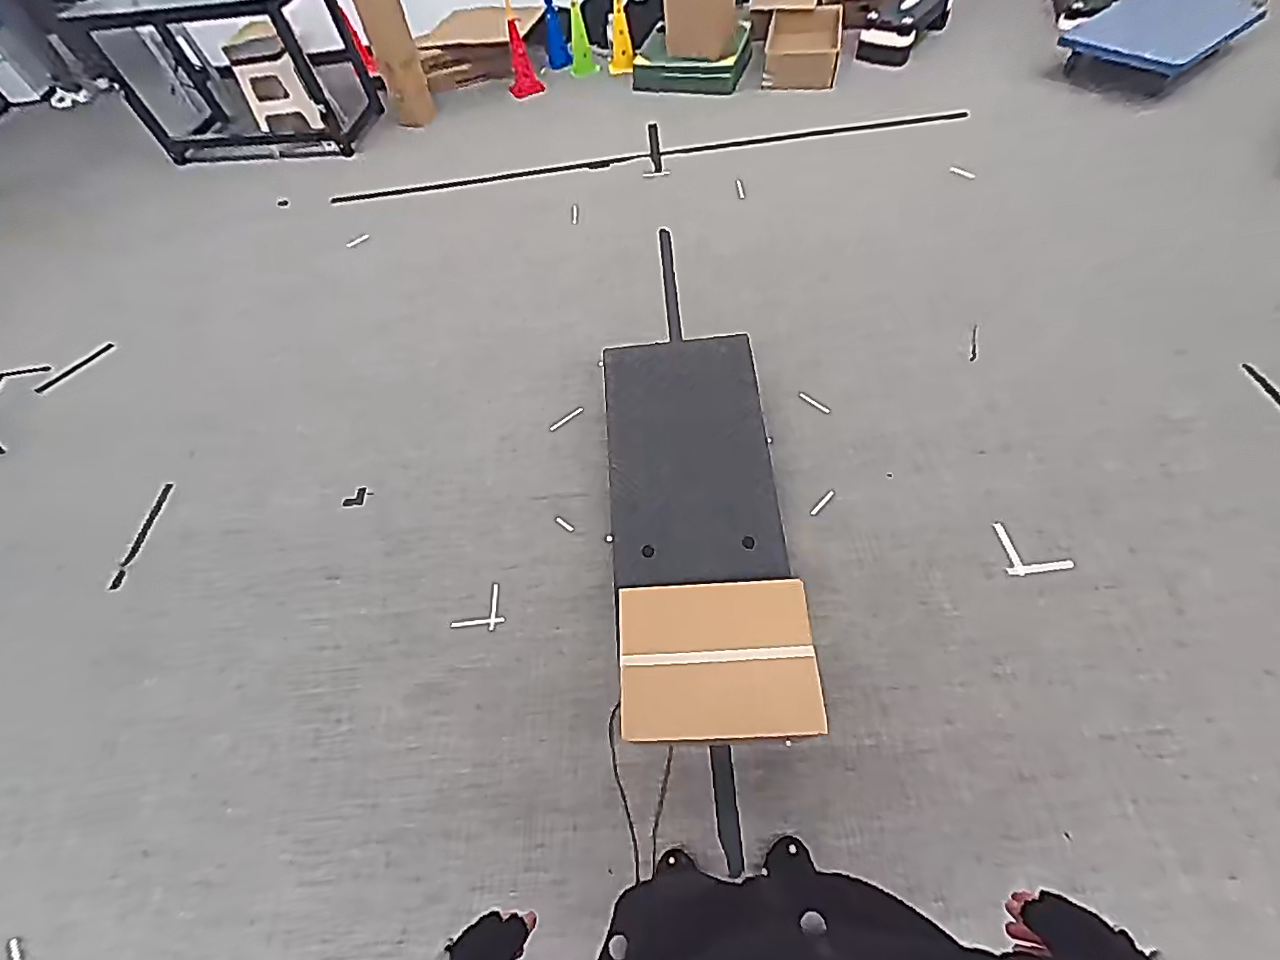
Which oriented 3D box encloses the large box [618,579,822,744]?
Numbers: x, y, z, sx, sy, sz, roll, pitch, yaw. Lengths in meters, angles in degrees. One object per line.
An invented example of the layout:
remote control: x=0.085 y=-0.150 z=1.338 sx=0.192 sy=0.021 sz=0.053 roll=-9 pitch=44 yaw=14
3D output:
large box: x=0.167 y=0.436 z=1.265 sx=0.408 sy=0.320 sz=0.320 roll=-4 pitch=61 yaw=3

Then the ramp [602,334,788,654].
ramp: x=0.147 y=-0.006 z=1.630 sx=0.509 sy=0.206 sz=0.991 roll=-6 pitch=57 yaw=1
